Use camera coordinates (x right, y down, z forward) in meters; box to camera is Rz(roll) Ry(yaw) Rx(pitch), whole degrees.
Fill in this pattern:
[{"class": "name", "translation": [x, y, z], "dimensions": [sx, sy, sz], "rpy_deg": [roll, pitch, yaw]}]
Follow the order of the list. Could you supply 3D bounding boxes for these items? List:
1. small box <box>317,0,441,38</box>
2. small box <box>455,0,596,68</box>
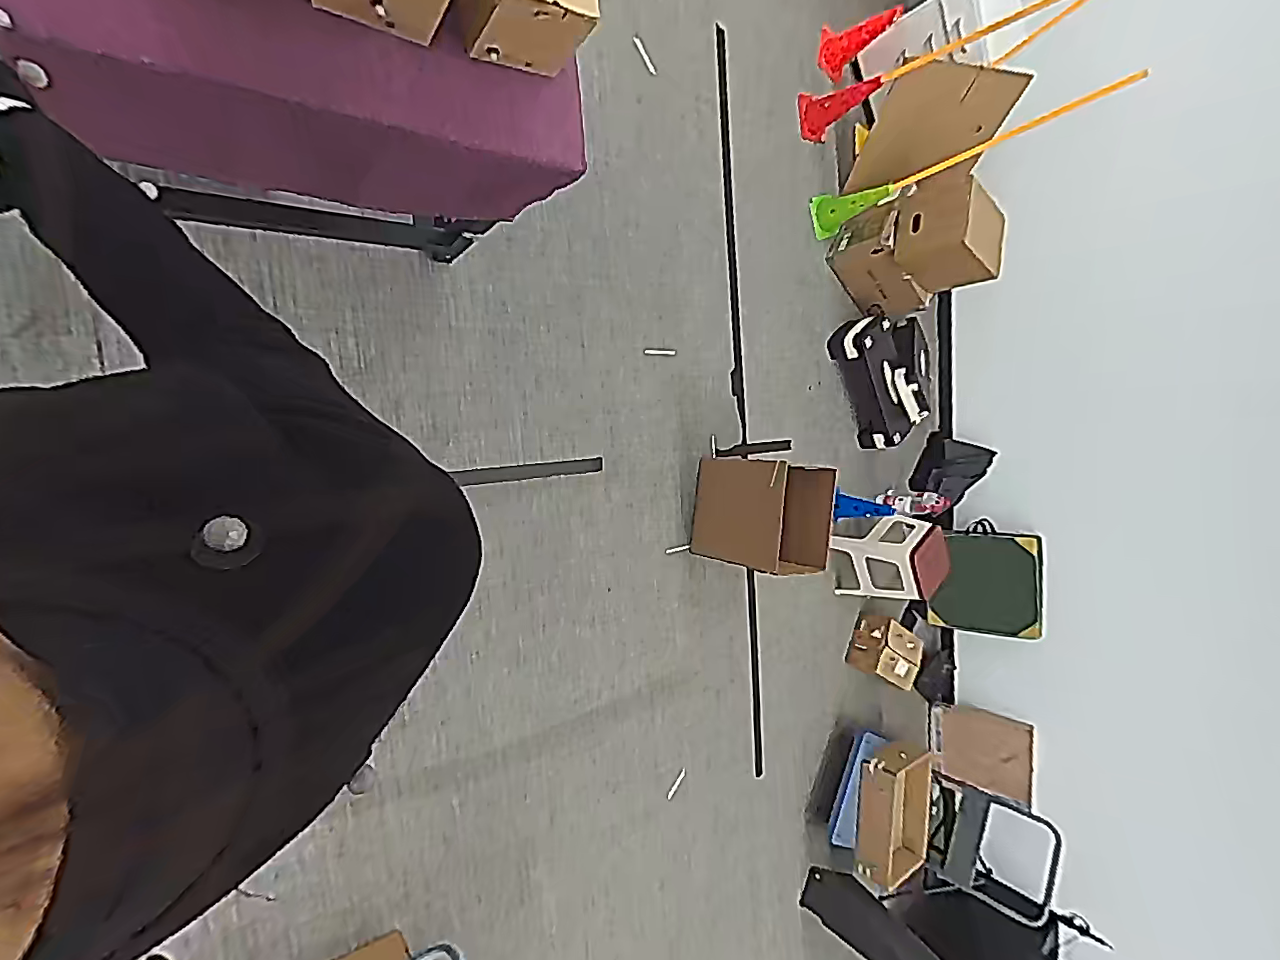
[{"class": "small box", "translation": [-0.367, -0.774, 0.742], "dimensions": [0.168, 0.176, 0.179], "rpy_deg": [-8, 98, -36]}, {"class": "small box", "translation": [-0.194, -0.815, 0.872], "dimensions": [0.168, 0.176, 0.179], "rpy_deg": [-15, 101, -36]}]
